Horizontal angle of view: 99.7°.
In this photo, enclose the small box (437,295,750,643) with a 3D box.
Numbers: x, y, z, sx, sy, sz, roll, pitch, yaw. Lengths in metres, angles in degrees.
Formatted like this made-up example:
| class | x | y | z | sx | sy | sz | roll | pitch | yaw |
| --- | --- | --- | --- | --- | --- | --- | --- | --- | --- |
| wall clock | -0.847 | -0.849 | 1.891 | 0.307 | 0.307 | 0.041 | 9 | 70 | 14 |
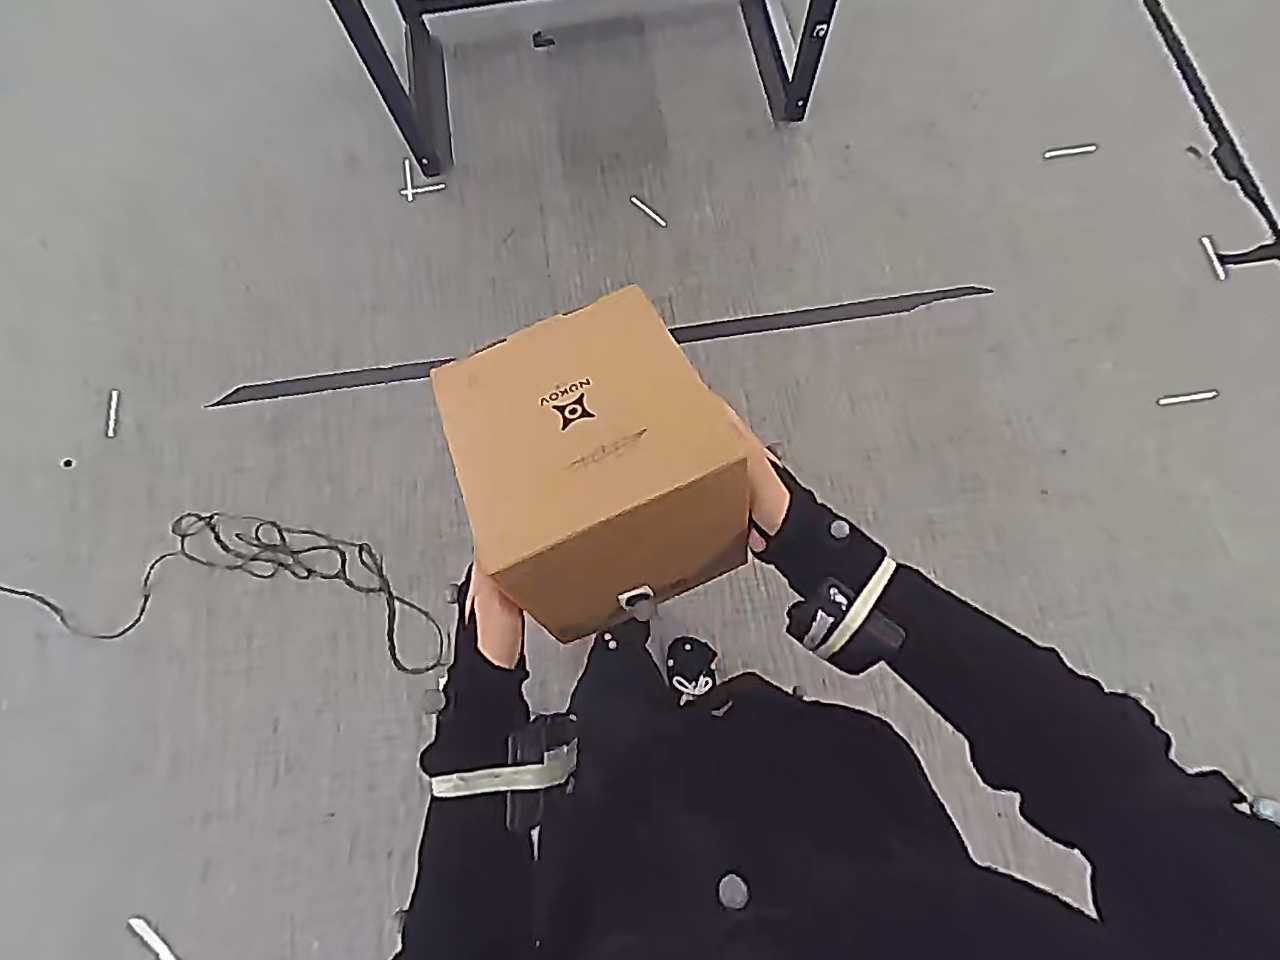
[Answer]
| class | x | y | z | sx | sy | sz | roll | pitch | yaw |
| --- | --- | --- | --- | --- | --- | --- | --- | --- | --- |
| small box | -0.029 | -0.001 | 0.421 | 0.168 | 0.176 | 0.179 | -25 | 59 | -4 |
